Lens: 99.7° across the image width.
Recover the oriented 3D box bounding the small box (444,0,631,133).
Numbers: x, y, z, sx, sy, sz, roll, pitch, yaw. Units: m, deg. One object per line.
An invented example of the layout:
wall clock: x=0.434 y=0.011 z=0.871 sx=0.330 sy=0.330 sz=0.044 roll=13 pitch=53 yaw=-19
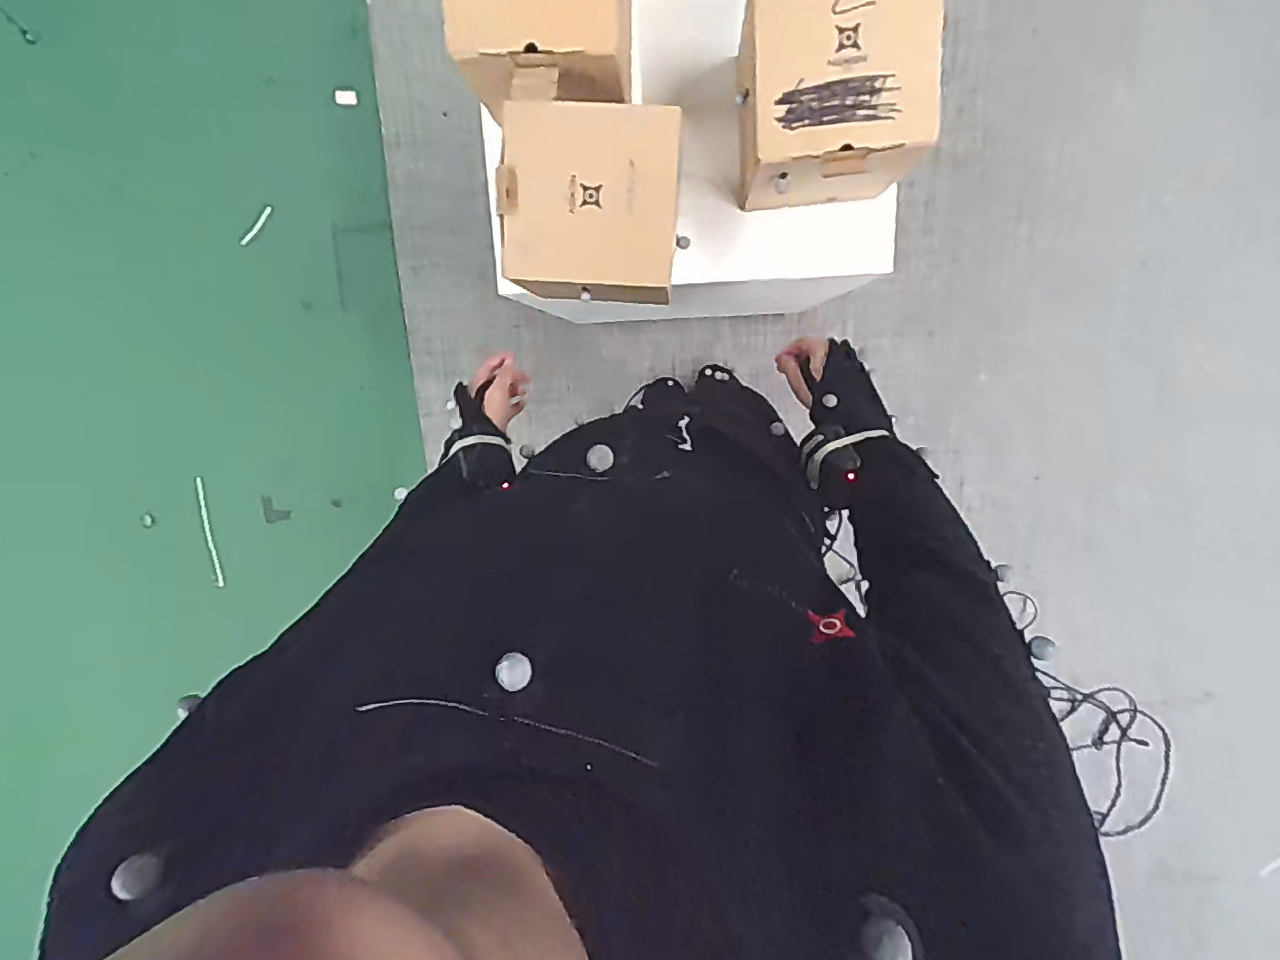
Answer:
small box: x=-0.098 y=-0.499 z=0.572 sx=0.168 sy=0.176 sz=0.179 roll=1 pitch=103 yaw=3
